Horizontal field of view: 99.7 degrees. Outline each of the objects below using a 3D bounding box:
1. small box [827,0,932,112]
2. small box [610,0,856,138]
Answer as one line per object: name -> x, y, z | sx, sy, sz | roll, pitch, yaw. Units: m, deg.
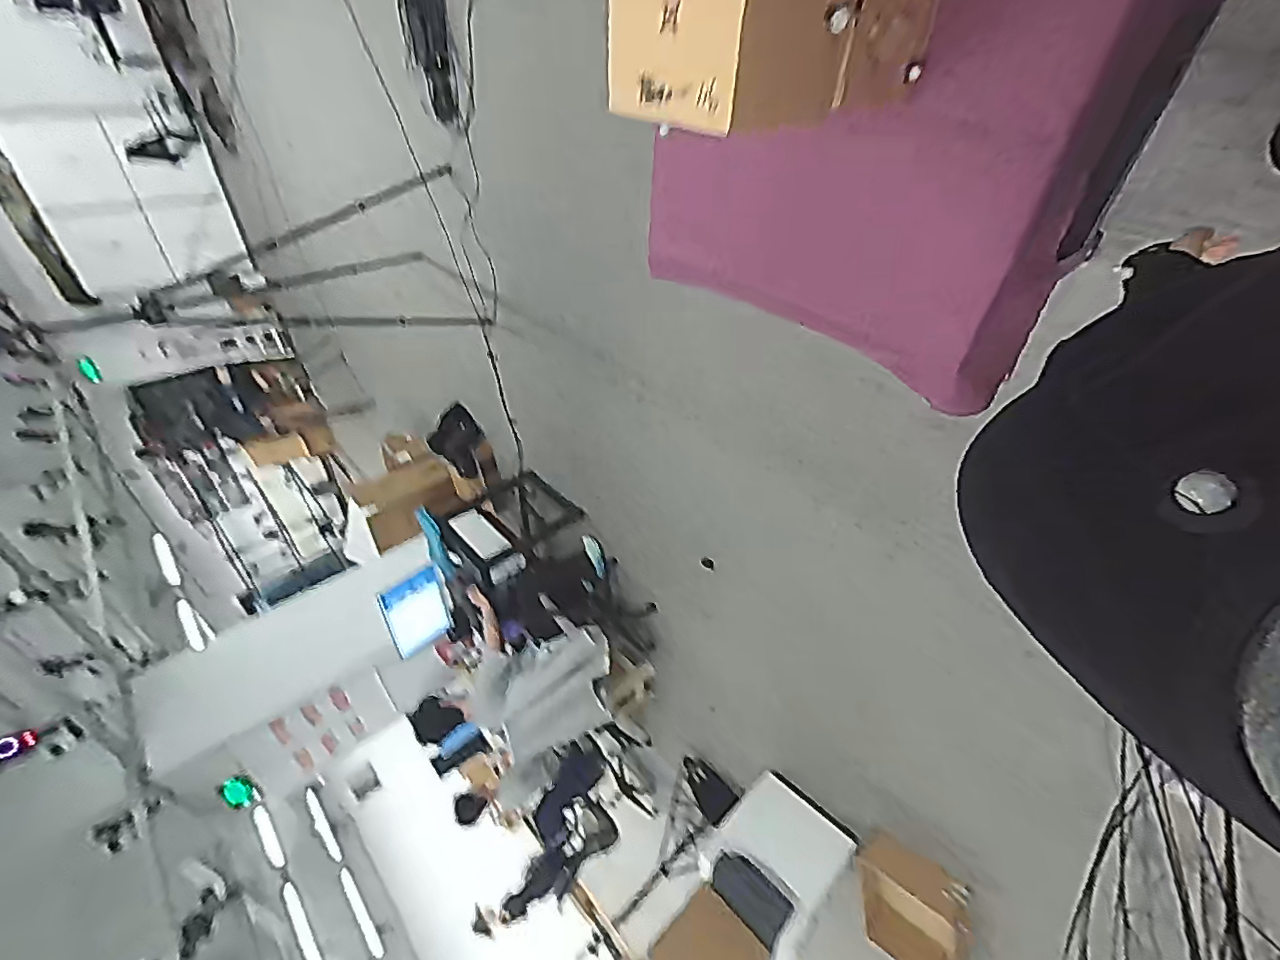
small box -> 0.210, -0.525, 0.607 | 0.179, 0.176, 0.168 | 36, 139, 33
small box -> 0.091, -0.448, 0.522 | 0.168, 0.176, 0.179 | 37, 139, 32
